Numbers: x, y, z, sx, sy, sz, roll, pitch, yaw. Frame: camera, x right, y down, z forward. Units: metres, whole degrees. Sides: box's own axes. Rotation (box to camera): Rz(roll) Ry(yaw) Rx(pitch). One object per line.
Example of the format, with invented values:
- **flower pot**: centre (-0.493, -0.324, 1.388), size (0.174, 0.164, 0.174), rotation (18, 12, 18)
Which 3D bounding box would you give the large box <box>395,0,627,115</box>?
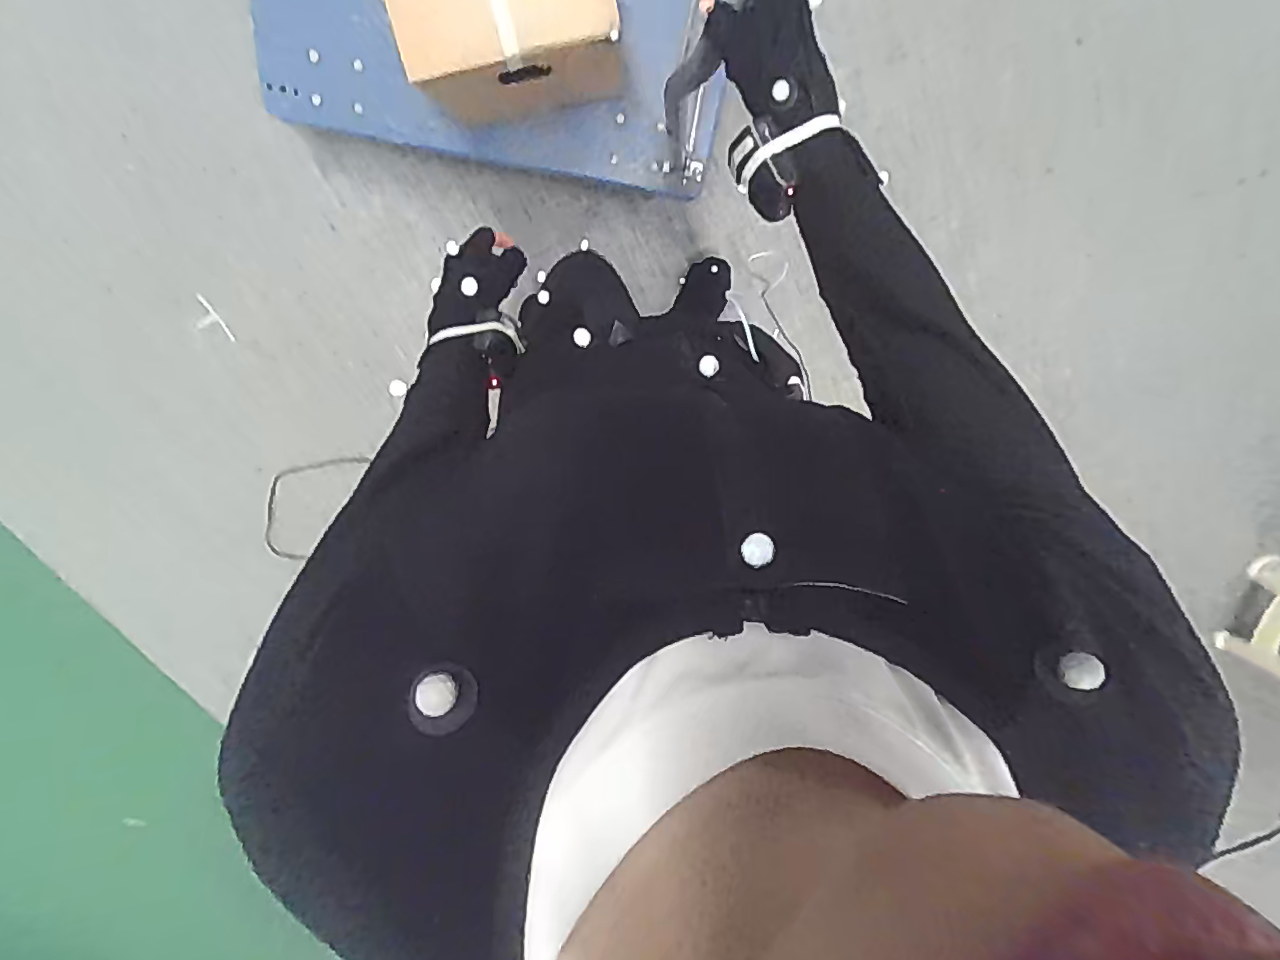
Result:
- **large box**: centre (-0.208, -0.845, 0.817), size (0.320, 0.320, 0.408), rotation (-10, 114, 5)
